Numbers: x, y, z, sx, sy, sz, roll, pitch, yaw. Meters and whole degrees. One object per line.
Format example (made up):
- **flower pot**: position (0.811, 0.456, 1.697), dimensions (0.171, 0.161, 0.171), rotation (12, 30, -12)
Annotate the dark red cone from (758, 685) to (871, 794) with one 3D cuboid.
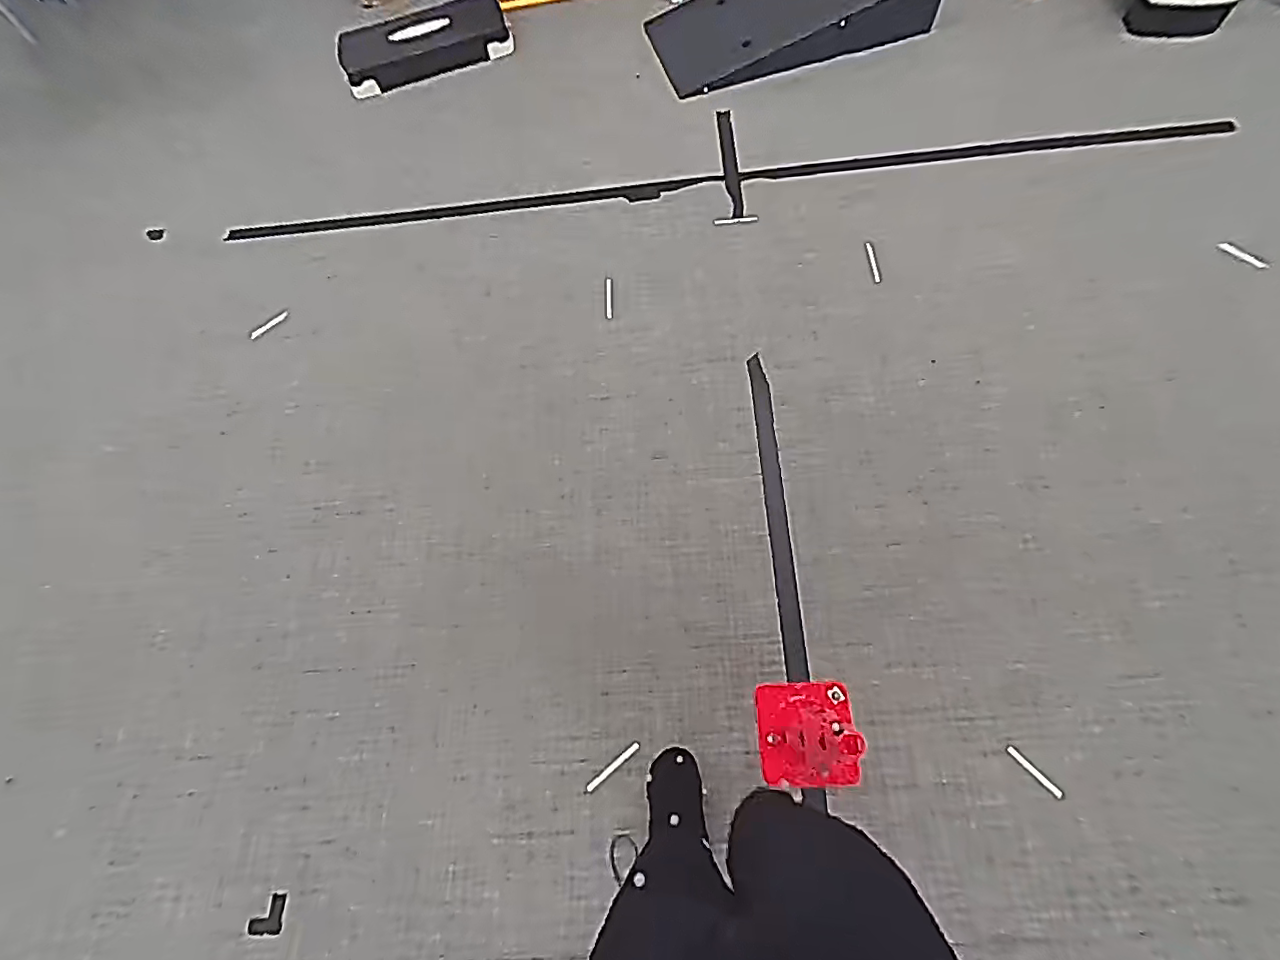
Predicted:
- **dark red cone**: position (0.336, 0.470, 0.964), dimensions (0.201, 0.394, 0.202), rotation (-5, 67, 4)
